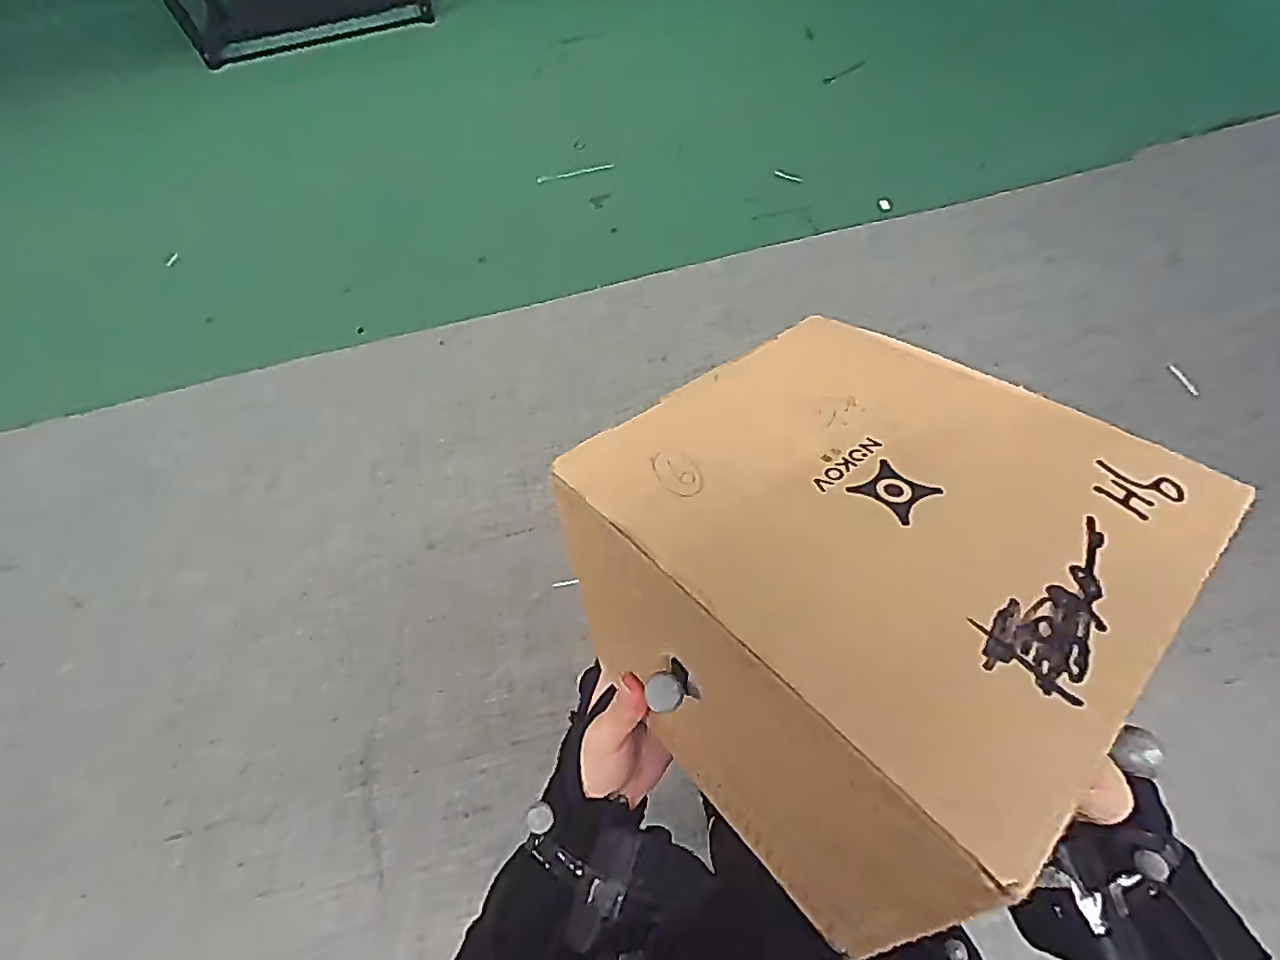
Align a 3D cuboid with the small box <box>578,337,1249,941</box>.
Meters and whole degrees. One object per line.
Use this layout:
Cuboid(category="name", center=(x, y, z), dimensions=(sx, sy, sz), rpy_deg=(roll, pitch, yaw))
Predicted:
Cuboid(category="small box", center=(0.095, 0.064, 0.254), dimensions=(0.168, 0.176, 0.179), rpy_deg=(-34, 50, -24))
